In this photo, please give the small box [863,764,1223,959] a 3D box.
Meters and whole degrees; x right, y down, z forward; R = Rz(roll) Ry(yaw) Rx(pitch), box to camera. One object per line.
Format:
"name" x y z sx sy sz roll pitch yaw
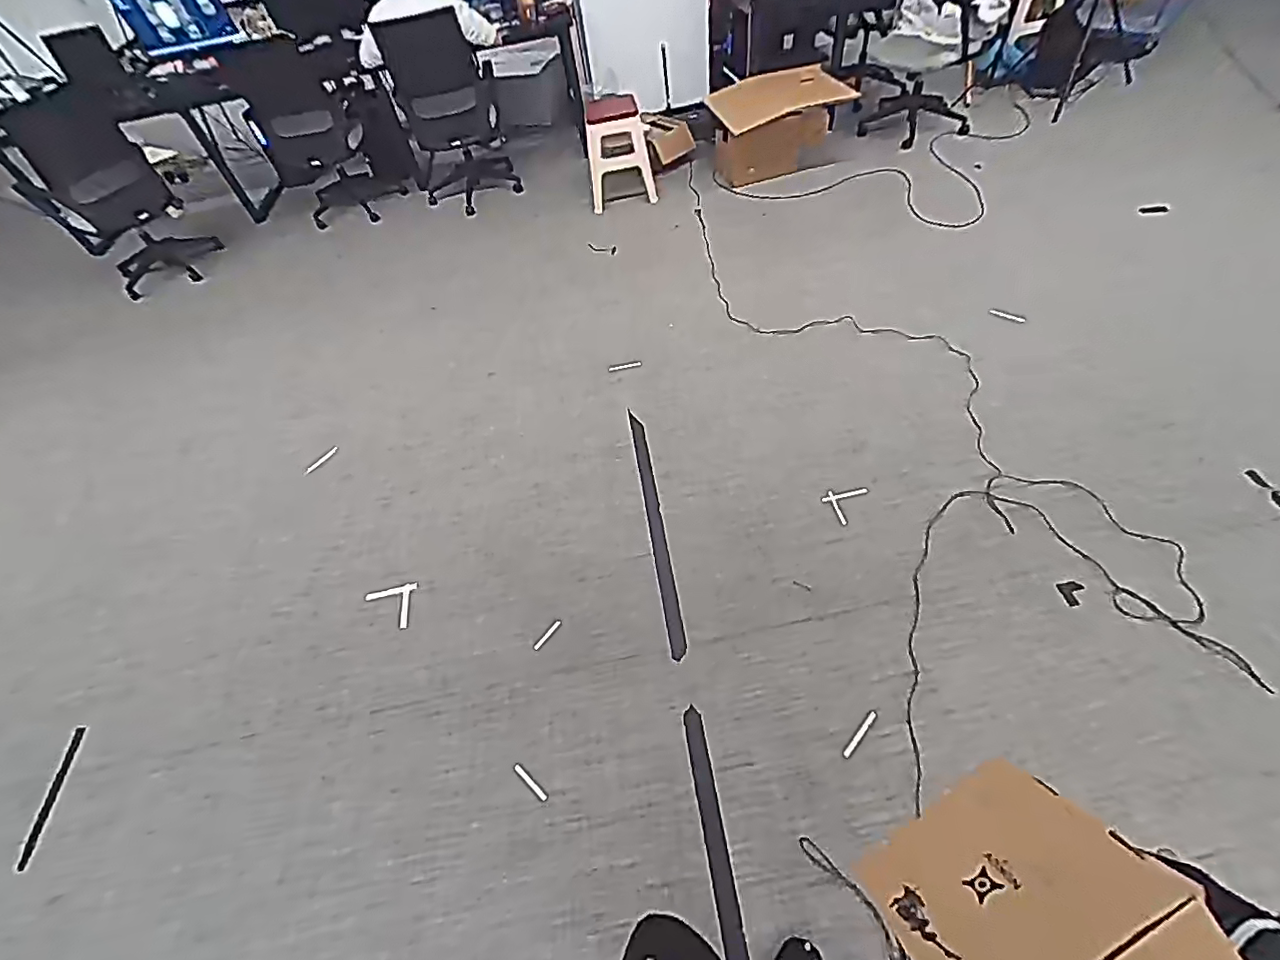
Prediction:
"small box" 0.325 0.382 0.429 0.179 0.168 0.176 -35 91 -2
